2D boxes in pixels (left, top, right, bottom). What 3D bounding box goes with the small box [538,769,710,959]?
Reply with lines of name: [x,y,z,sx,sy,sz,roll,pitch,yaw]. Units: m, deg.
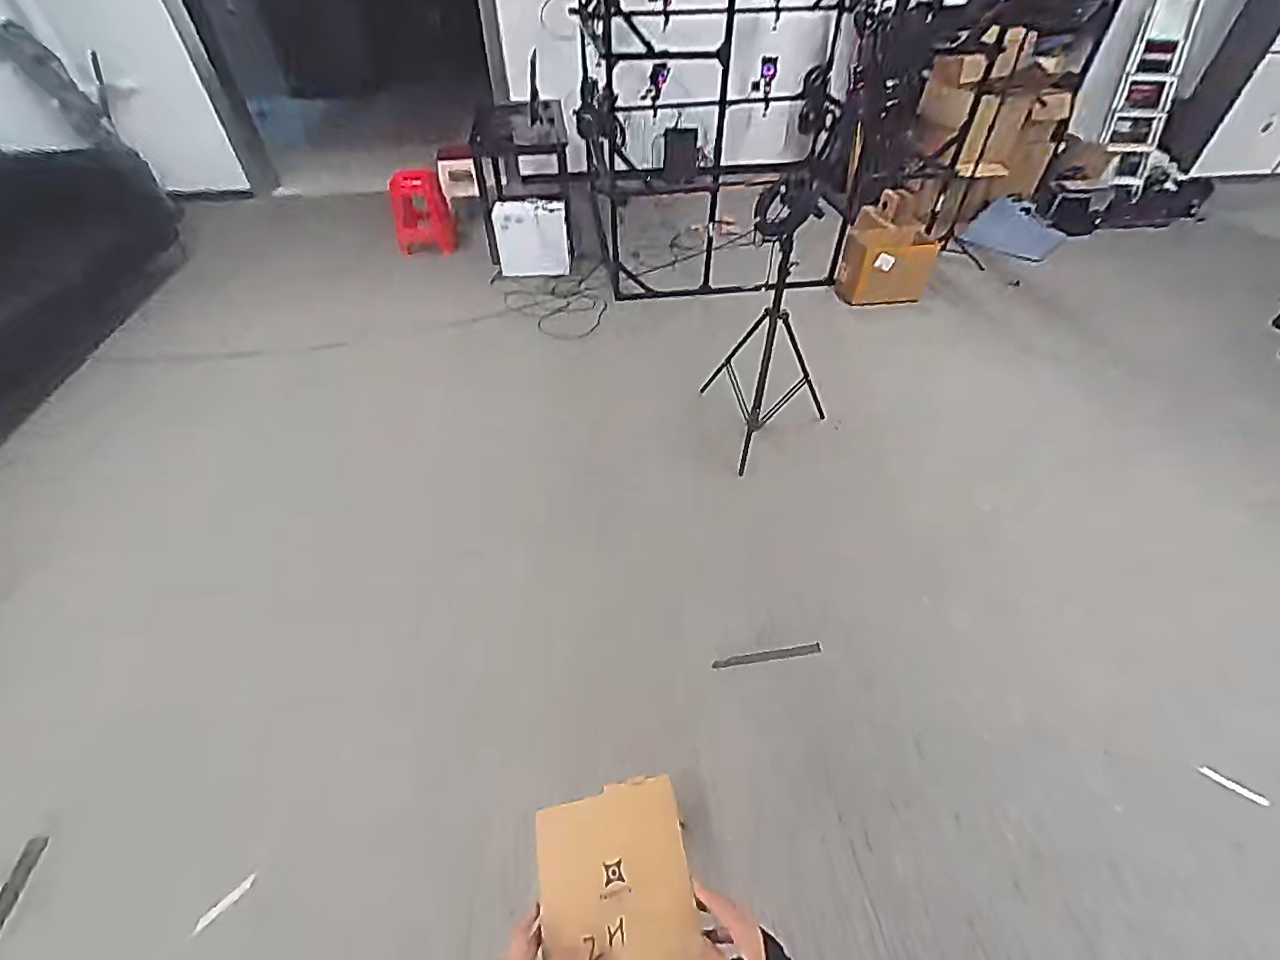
small box: [-0.019,0.475,0.637,0.168,0.176,0.179,-12,46,-2]
